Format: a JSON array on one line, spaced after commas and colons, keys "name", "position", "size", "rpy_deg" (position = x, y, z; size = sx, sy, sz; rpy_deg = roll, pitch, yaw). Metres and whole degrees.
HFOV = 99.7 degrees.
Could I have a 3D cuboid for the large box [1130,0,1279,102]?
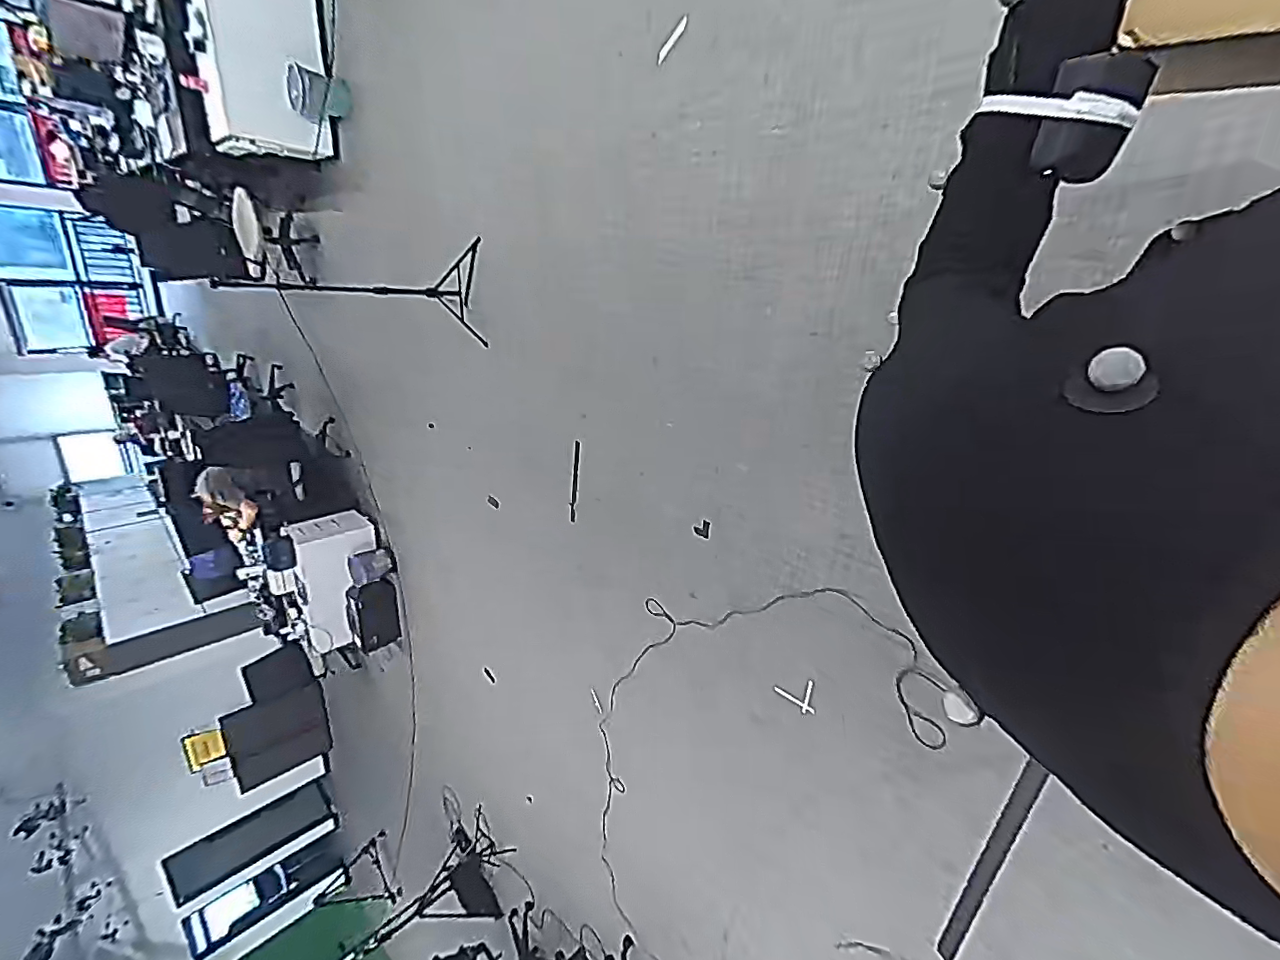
[{"name": "large box", "position": [0.544, -0.402, 0.254], "size": [0.408, 0.320, 0.320], "rpy_deg": [20, 126, 36]}]
